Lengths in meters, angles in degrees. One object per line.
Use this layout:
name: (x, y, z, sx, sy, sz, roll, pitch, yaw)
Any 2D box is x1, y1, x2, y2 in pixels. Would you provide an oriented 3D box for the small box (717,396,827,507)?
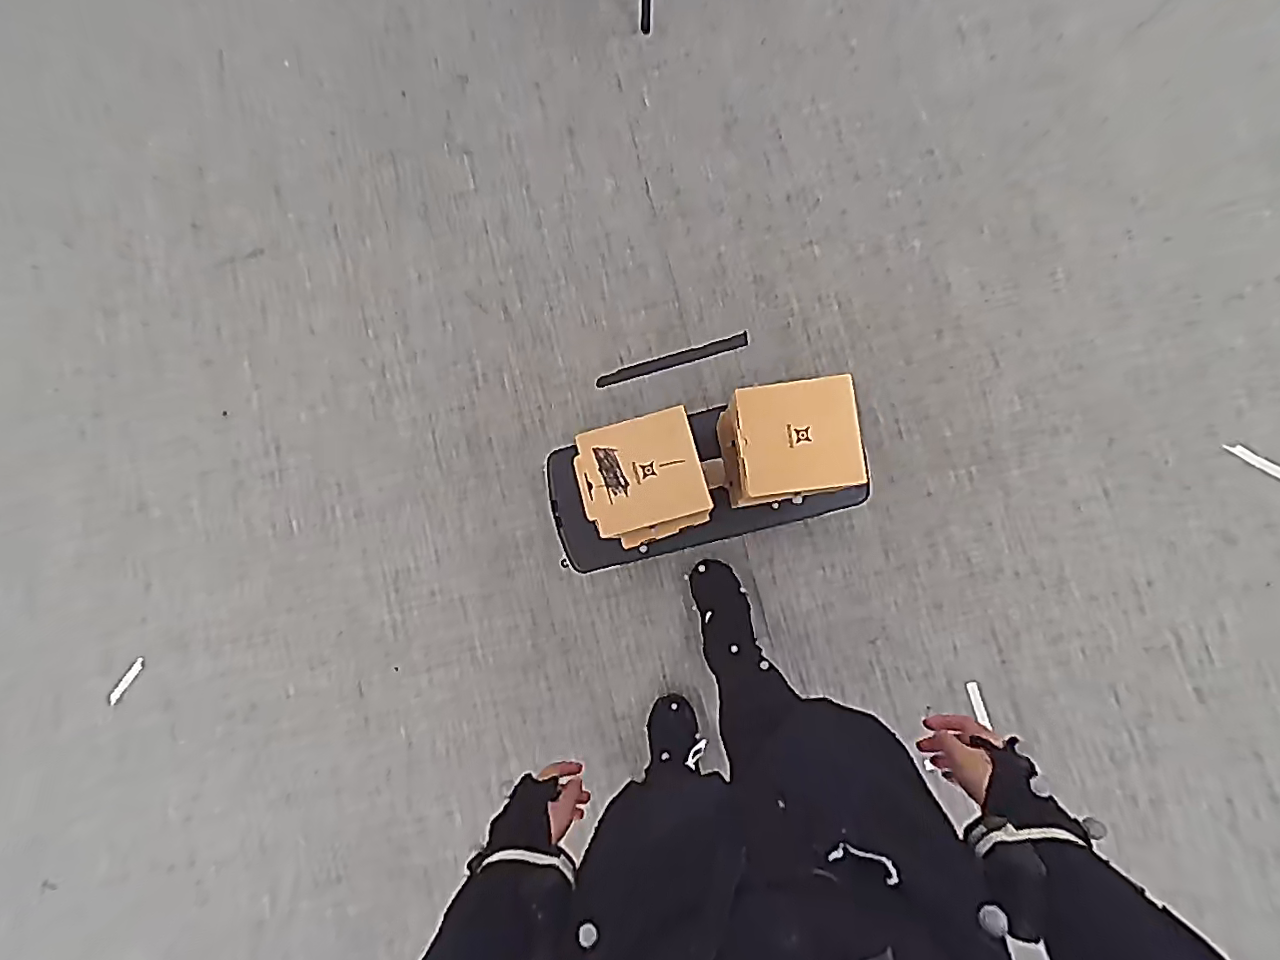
small box: (0.244, -0.046, 1.037, 0.168, 0.176, 0.179, -10, 85, 4)
